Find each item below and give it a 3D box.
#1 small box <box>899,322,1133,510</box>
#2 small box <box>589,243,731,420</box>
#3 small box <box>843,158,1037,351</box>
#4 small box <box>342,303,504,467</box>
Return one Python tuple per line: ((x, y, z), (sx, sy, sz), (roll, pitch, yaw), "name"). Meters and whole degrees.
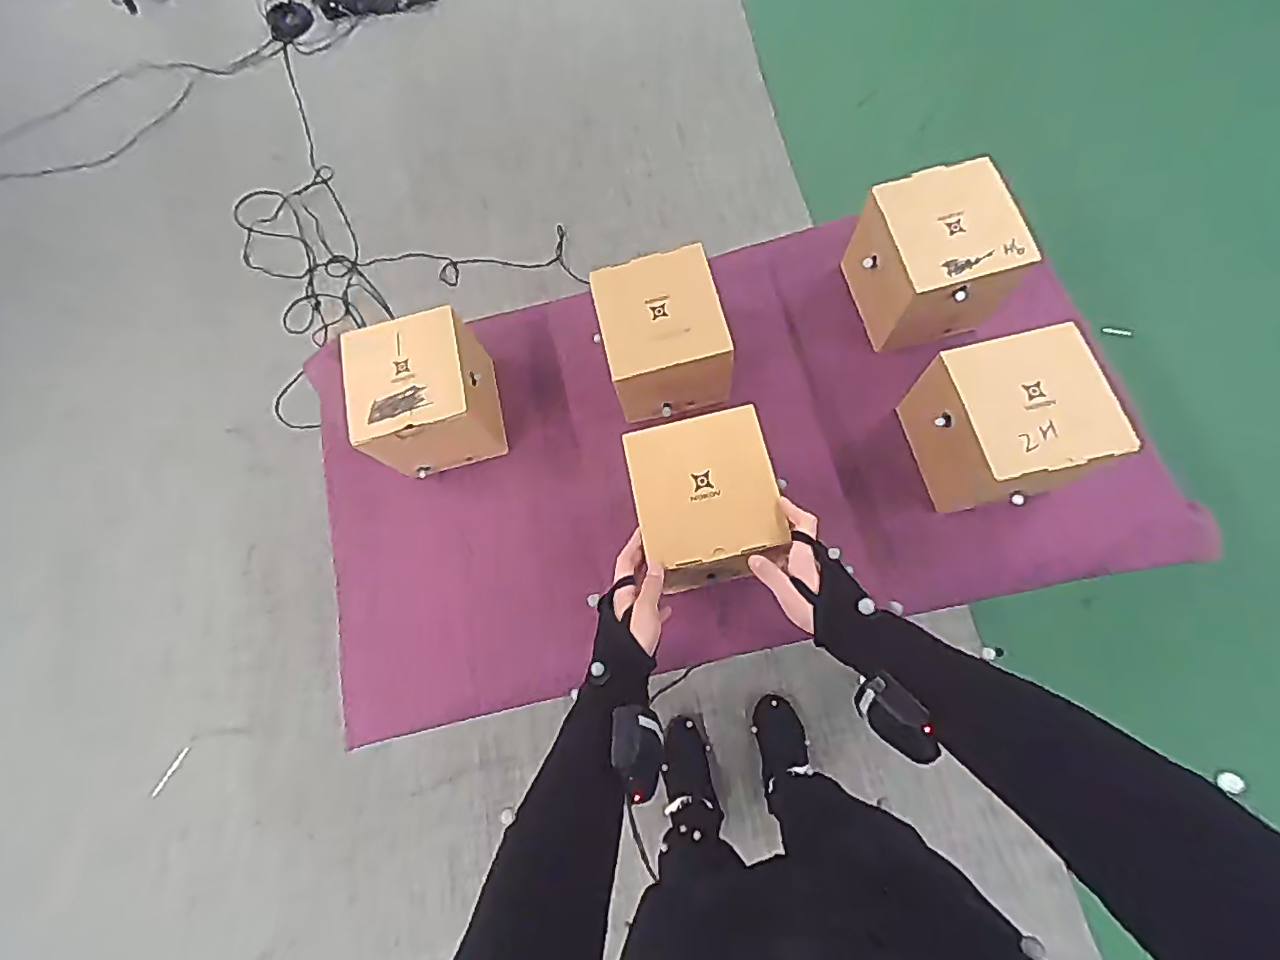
((0.470, -0.075, 0.714), (0.168, 0.176, 0.179), (-12, 72, 3), "small box")
((0.031, -0.212, 0.806), (0.168, 0.176, 0.179), (-13, 74, 3), "small box")
((0.418, -0.320, 0.792), (0.168, 0.176, 0.179), (-14, 74, 3), "small box")
((-0.318, -0.130, 0.818), (0.168, 0.176, 0.179), (-14, 73, 1), "small box")
